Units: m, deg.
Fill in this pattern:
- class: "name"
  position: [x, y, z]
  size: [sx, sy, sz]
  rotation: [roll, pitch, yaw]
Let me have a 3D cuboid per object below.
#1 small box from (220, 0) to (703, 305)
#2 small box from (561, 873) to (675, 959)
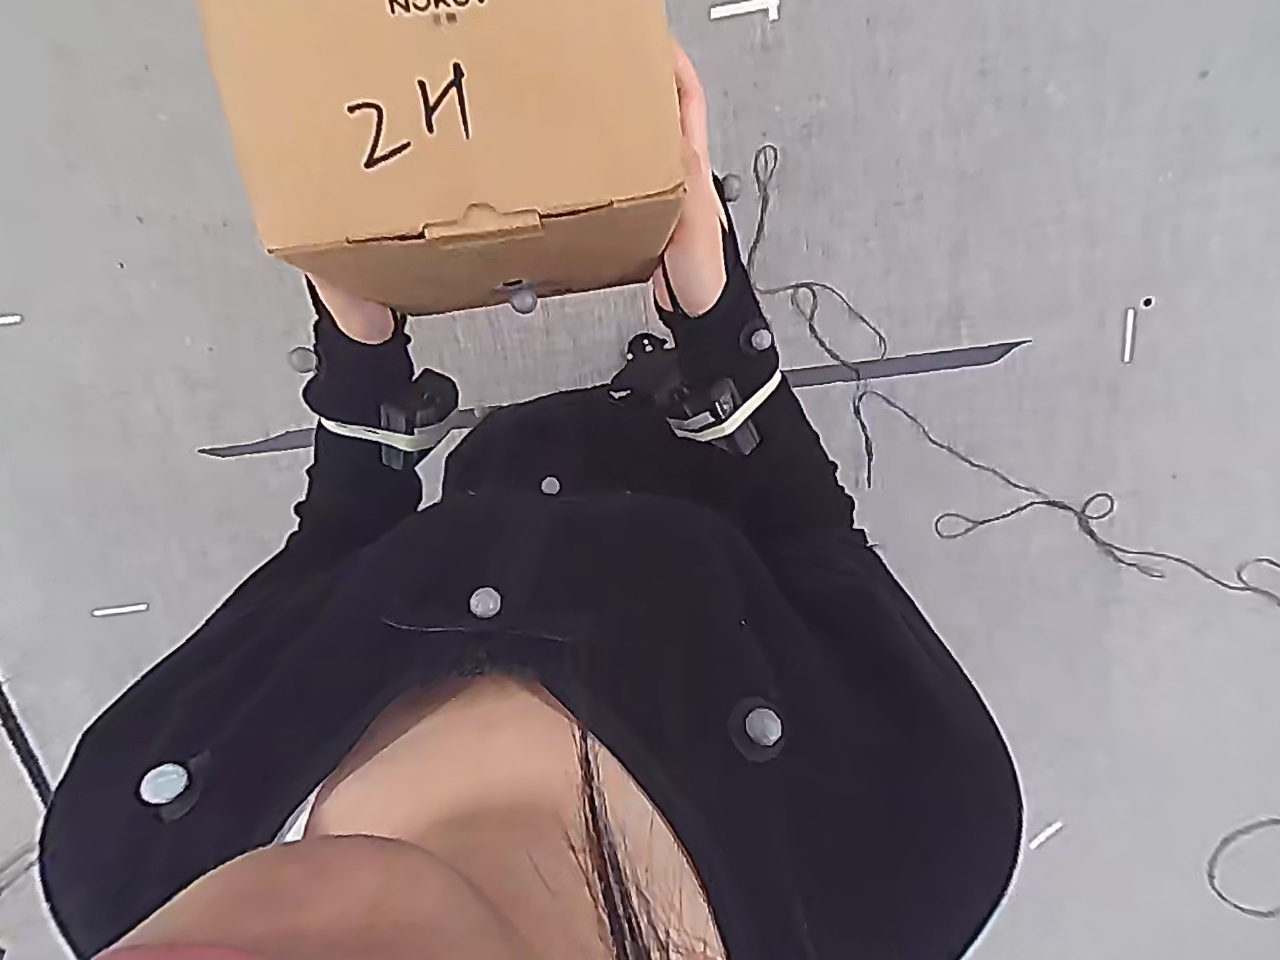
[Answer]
- class: "small box"
  position: [-0.075, -0.200, 0.271]
  size: [0.168, 0.176, 0.179]
  rotation: [-10, 100, -3]
- class: "small box"
  position: [-0.028, 0.760, 0.838]
  size: [0.168, 0.176, 0.179]
  rotation: [-6, 103, -2]
